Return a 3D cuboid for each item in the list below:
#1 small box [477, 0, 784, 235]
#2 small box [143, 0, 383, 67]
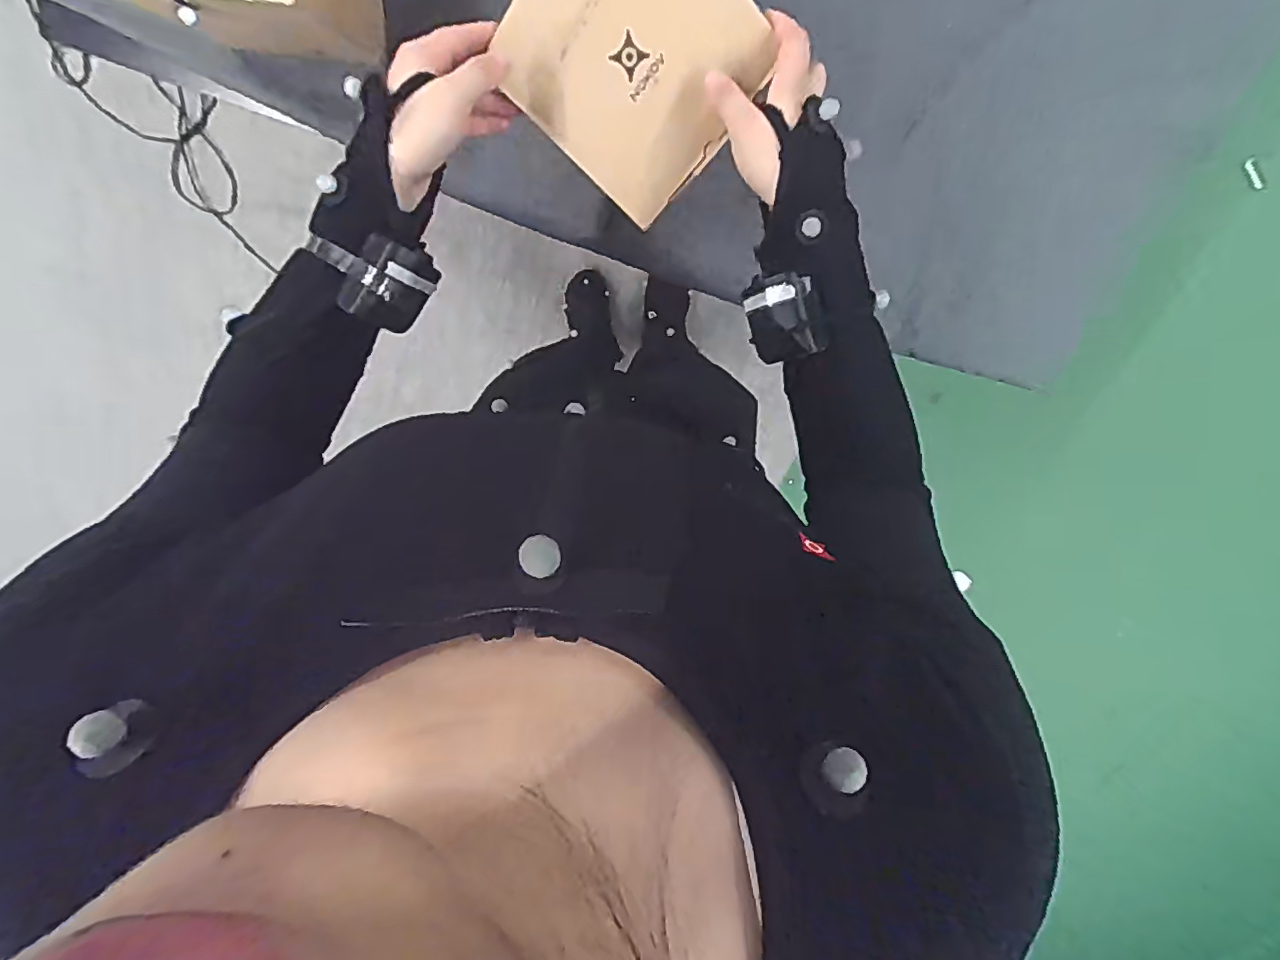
[{"bbox_3d":[-0.004,-0.355,0.469,0.179,0.176,0.168,37,119,-21],"label":"small box"},{"bbox_3d":[-0.333,-0.476,0.442,0.168,0.176,0.179,6,115,-1],"label":"small box"}]
